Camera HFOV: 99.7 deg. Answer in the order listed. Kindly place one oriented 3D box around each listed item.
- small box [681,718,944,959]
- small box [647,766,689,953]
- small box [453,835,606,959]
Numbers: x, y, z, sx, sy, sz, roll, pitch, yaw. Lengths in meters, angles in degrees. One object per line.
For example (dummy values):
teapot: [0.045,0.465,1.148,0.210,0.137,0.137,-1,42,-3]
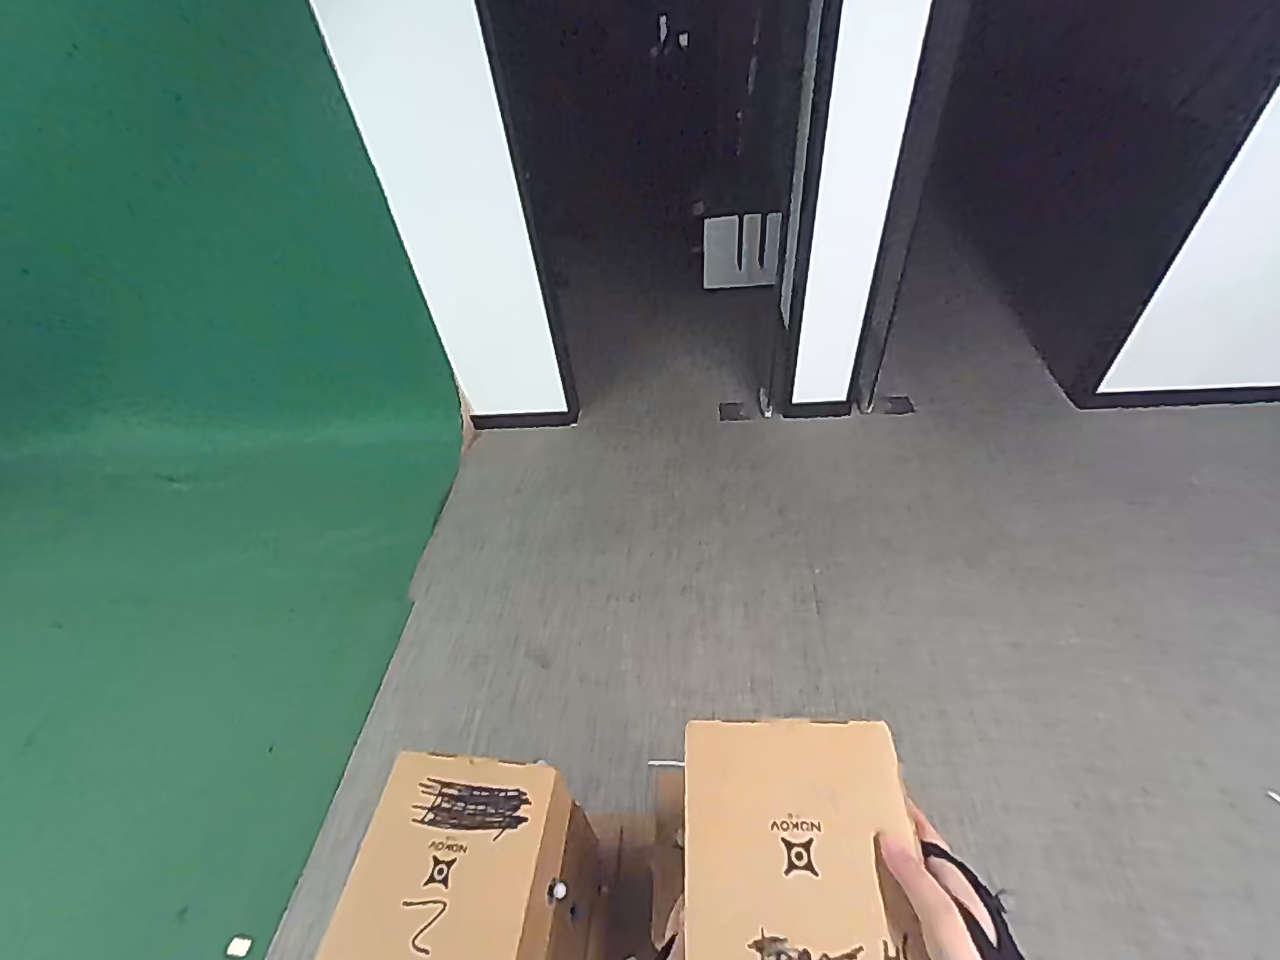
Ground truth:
small box: [0.124,0.318,0.440,0.168,0.176,0.179,-3,44,9]
small box: [0.108,0.470,0.663,0.179,0.176,0.168,-2,44,8]
small box: [-0.144,0.630,0.764,0.168,0.176,0.179,0,45,6]
